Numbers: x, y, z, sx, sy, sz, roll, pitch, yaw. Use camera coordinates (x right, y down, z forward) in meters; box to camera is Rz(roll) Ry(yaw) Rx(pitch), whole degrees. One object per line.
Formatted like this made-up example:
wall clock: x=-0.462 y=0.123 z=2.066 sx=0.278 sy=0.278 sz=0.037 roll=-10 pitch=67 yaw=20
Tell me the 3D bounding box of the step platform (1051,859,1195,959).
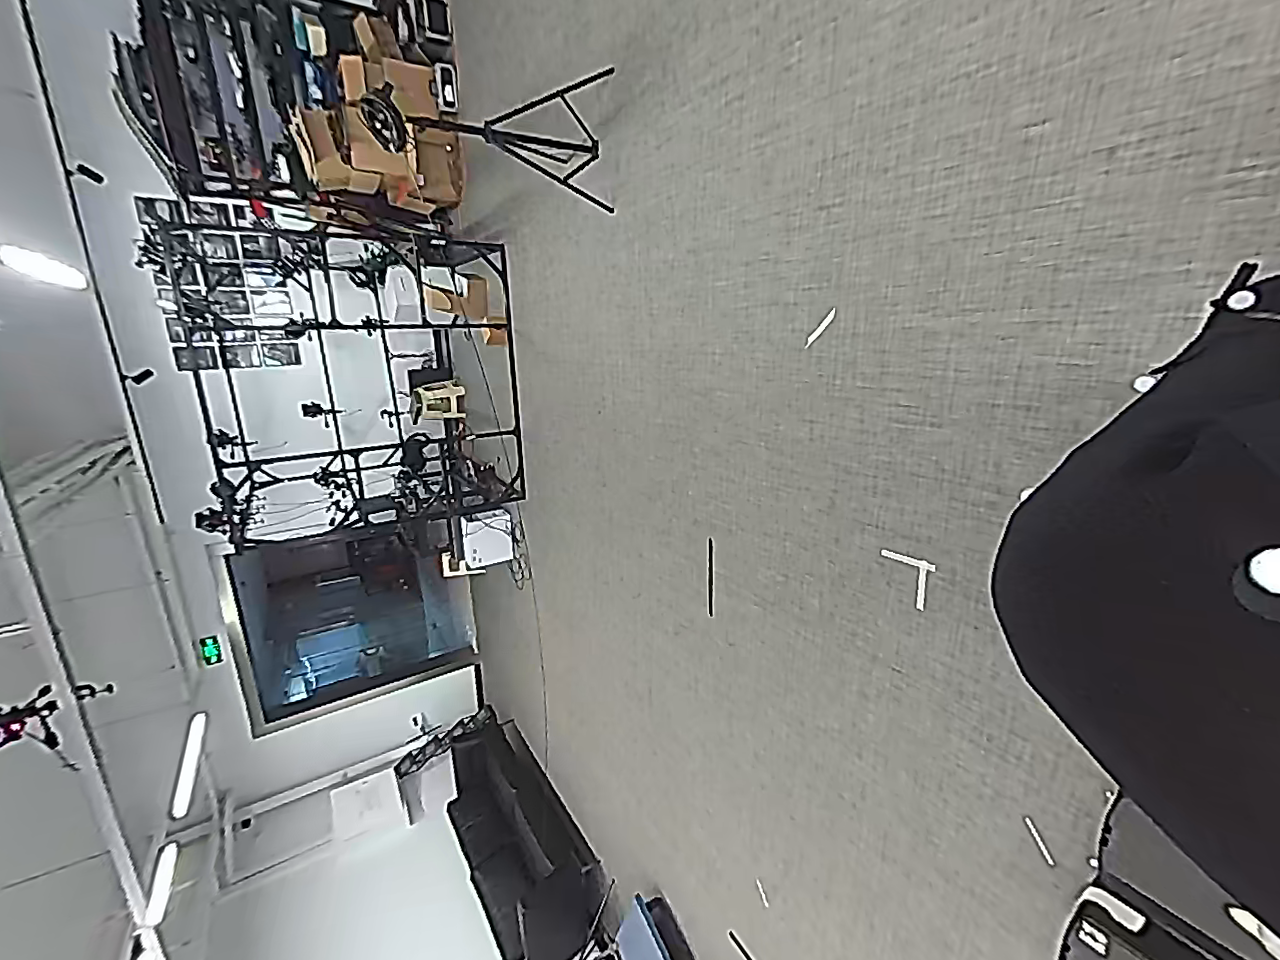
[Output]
step platform: x=1.237 y=1.143 z=1.063 sx=0.684 sy=0.204 sz=0.286 roll=22 pitch=118 yaw=57
